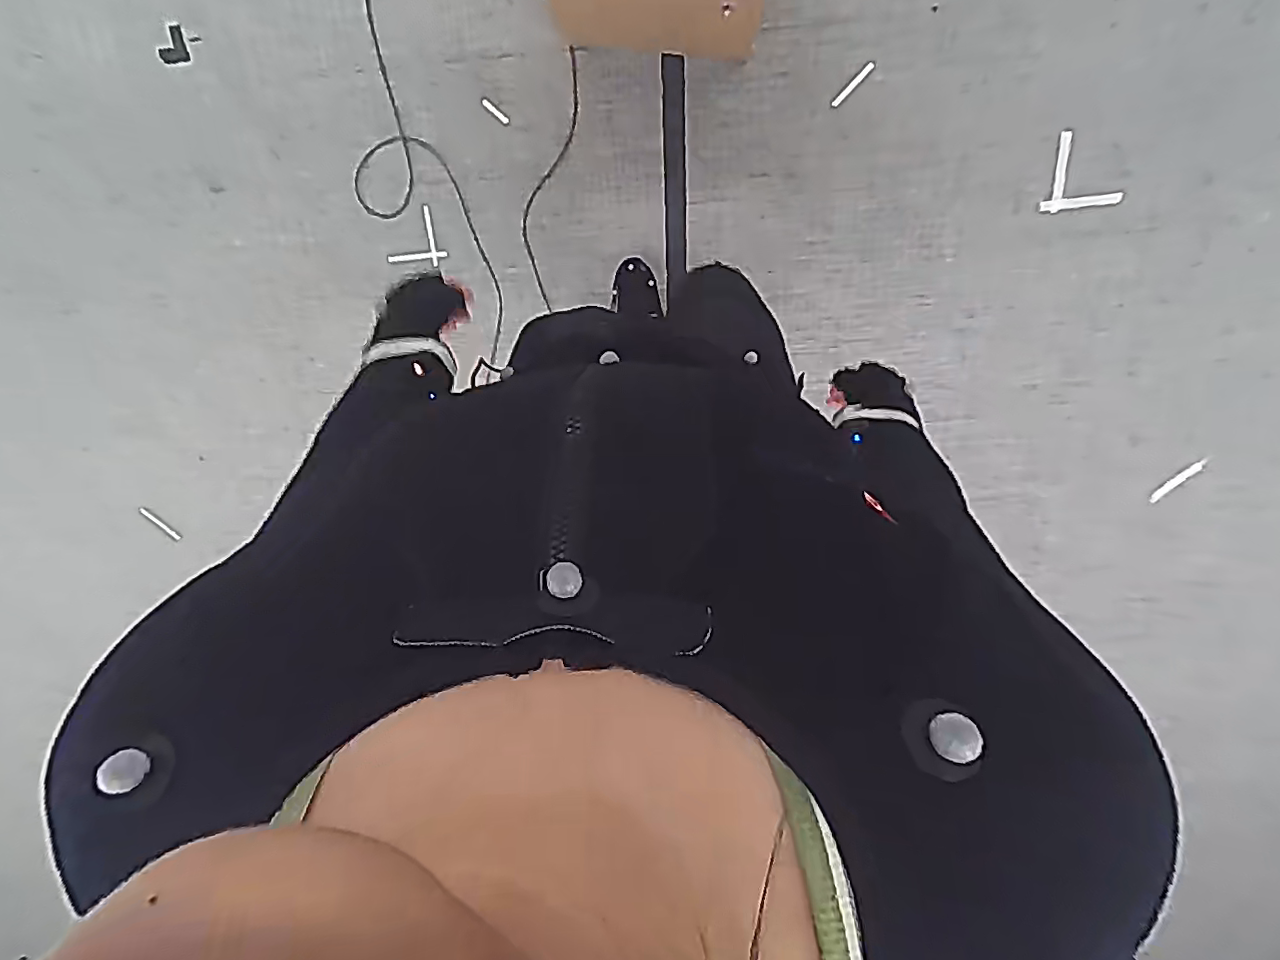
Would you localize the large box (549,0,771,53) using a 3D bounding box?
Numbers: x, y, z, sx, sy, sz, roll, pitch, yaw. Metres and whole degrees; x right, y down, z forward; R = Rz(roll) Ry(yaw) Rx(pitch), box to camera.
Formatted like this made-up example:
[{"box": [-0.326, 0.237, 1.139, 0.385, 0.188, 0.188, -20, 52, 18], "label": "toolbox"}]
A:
[{"box": [0.043, -1.020, 0.981, 0.408, 0.320, 0.320, 5, 111, 1], "label": "large box"}]
